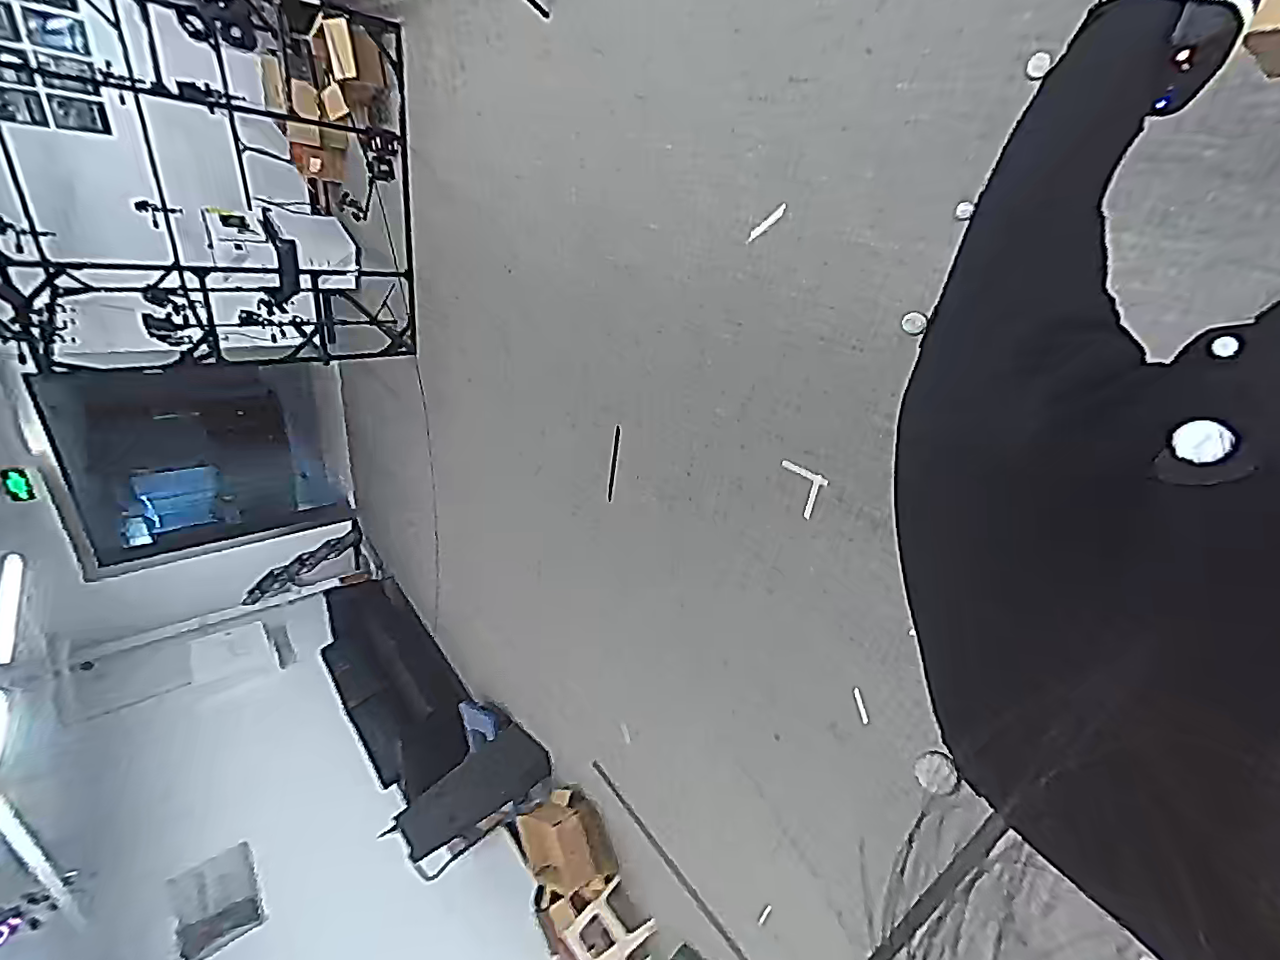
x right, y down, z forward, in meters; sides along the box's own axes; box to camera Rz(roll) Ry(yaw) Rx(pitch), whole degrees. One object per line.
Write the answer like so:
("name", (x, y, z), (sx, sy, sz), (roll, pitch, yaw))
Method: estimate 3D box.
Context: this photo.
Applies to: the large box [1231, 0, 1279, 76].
("large box", (0.670, -0.454, 0.287), (0.408, 0.320, 0.320), (26, 129, 42))
